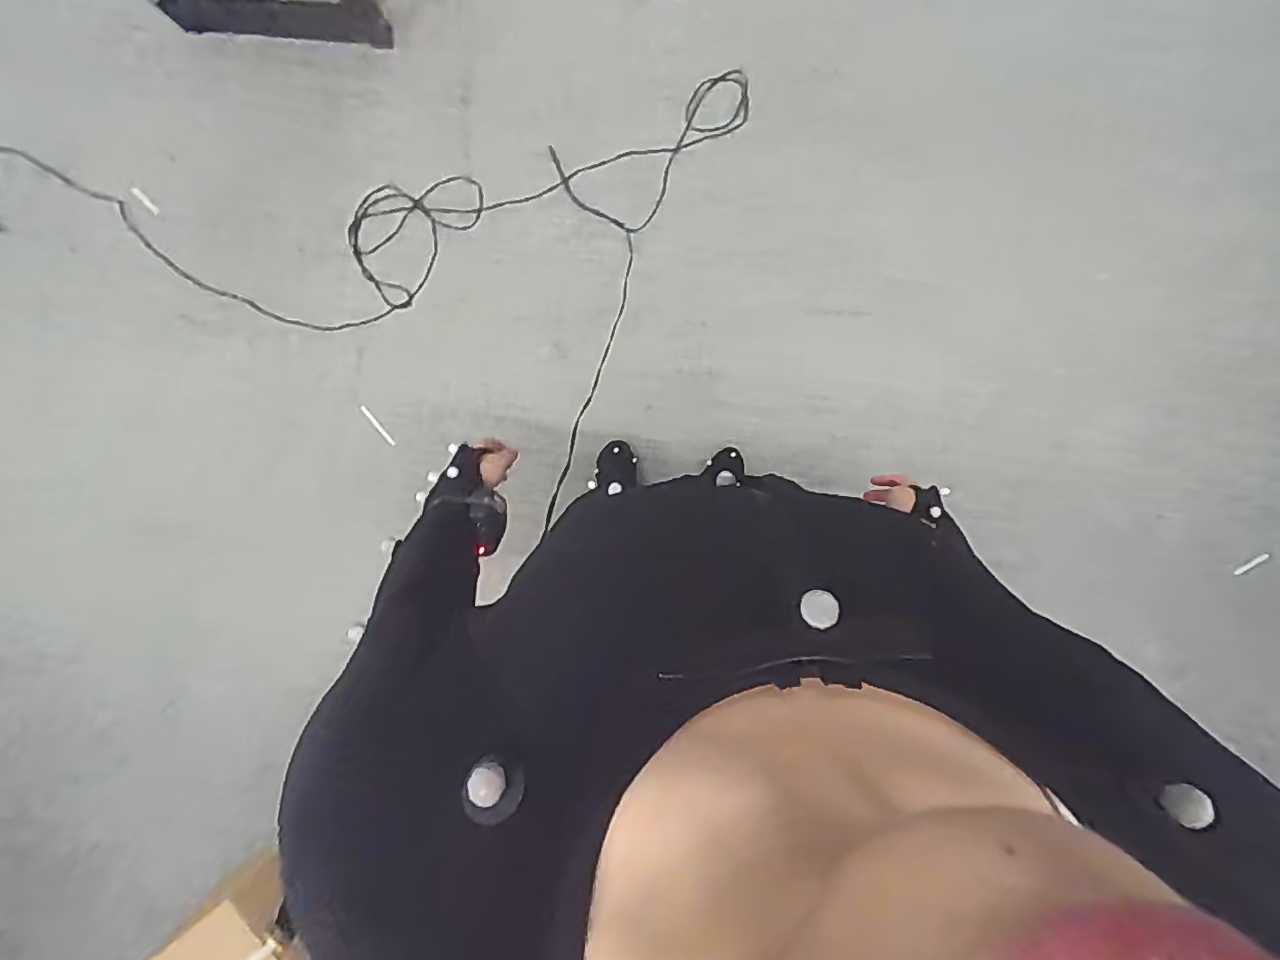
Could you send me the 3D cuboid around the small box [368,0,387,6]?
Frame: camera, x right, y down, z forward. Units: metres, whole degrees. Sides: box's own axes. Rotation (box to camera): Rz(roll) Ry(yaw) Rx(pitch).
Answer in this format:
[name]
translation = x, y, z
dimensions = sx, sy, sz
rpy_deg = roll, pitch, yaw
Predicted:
[small box]
translation = -0.727, -1.354, 1.353
dimensions = 0.168, 0.176, 0.179
rpy_deg = 19, 95, 1
